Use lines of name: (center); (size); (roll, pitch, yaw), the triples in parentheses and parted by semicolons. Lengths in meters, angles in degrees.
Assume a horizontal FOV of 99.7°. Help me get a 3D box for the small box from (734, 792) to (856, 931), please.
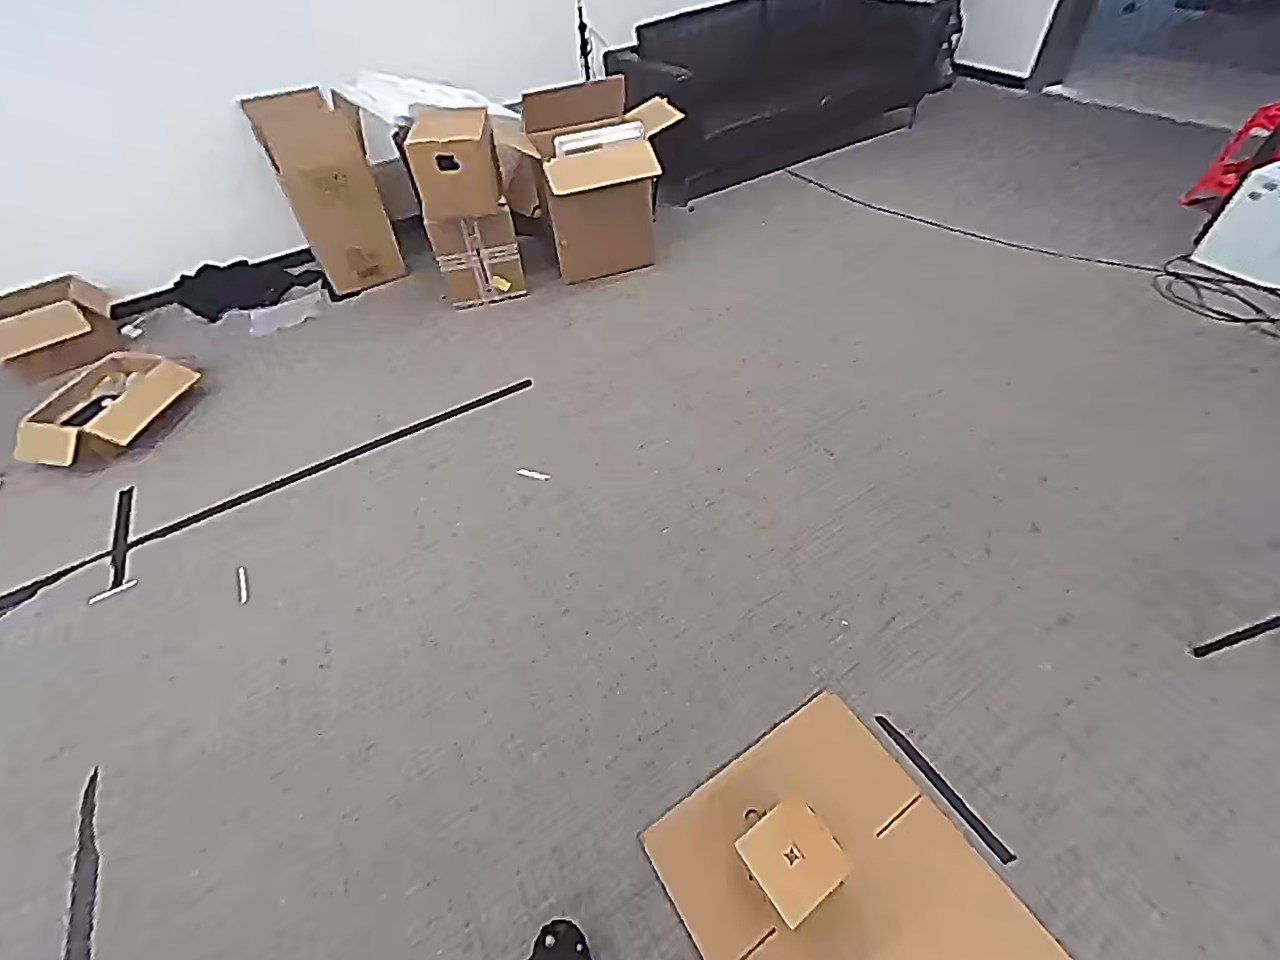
small box: (0.313, 0.795, 1.125); (0.179, 0.176, 0.168); (-30, 53, -19)
